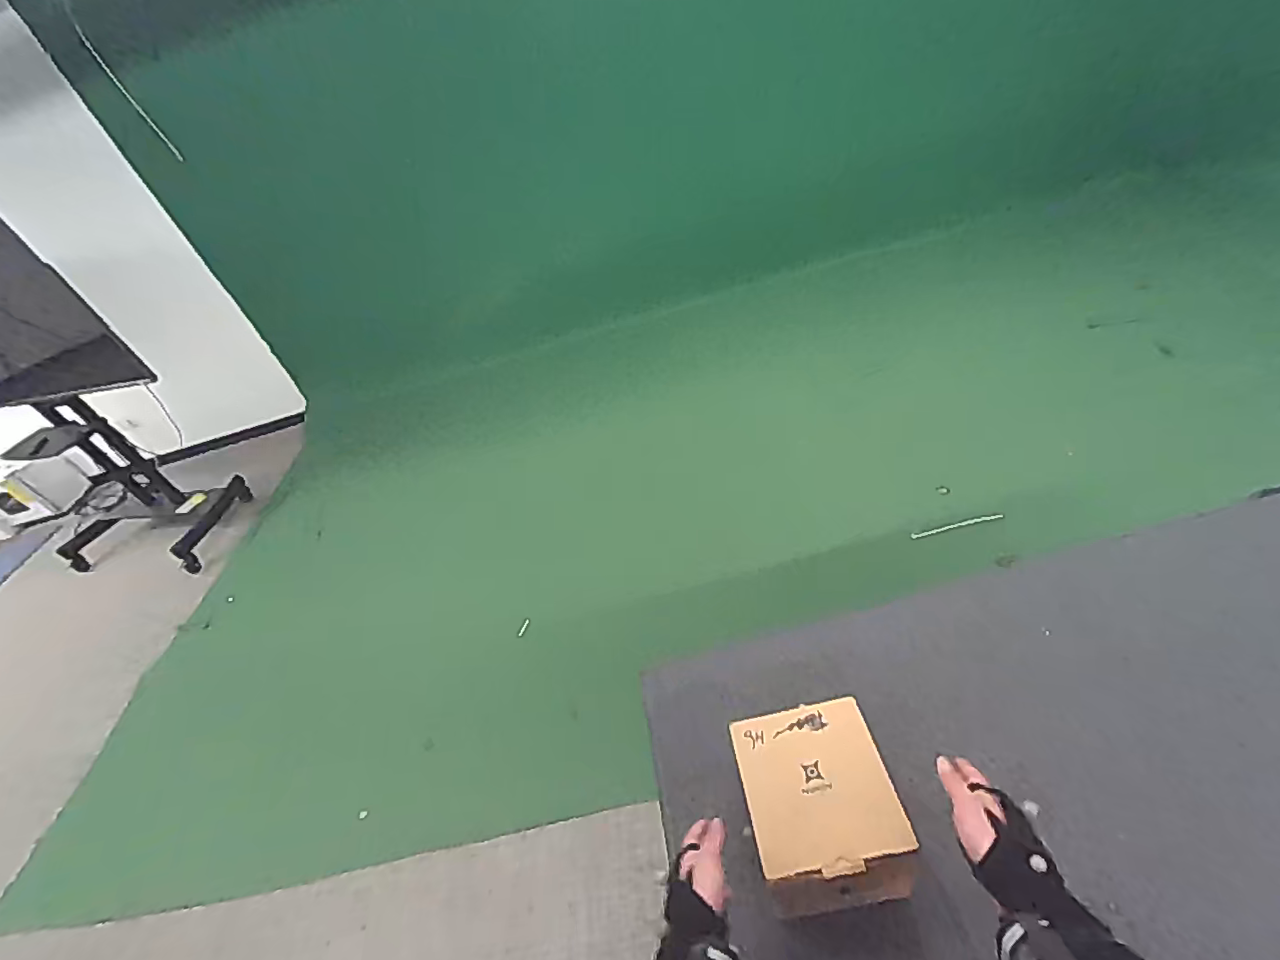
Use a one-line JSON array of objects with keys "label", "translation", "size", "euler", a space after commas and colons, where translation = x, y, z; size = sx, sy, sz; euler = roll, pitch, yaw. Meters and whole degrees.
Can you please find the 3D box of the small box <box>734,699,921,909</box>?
[{"label": "small box", "translation": [0.227, 0.410, 0.679], "size": [0.168, 0.176, 0.179], "euler": [-14, 39, 4]}]
